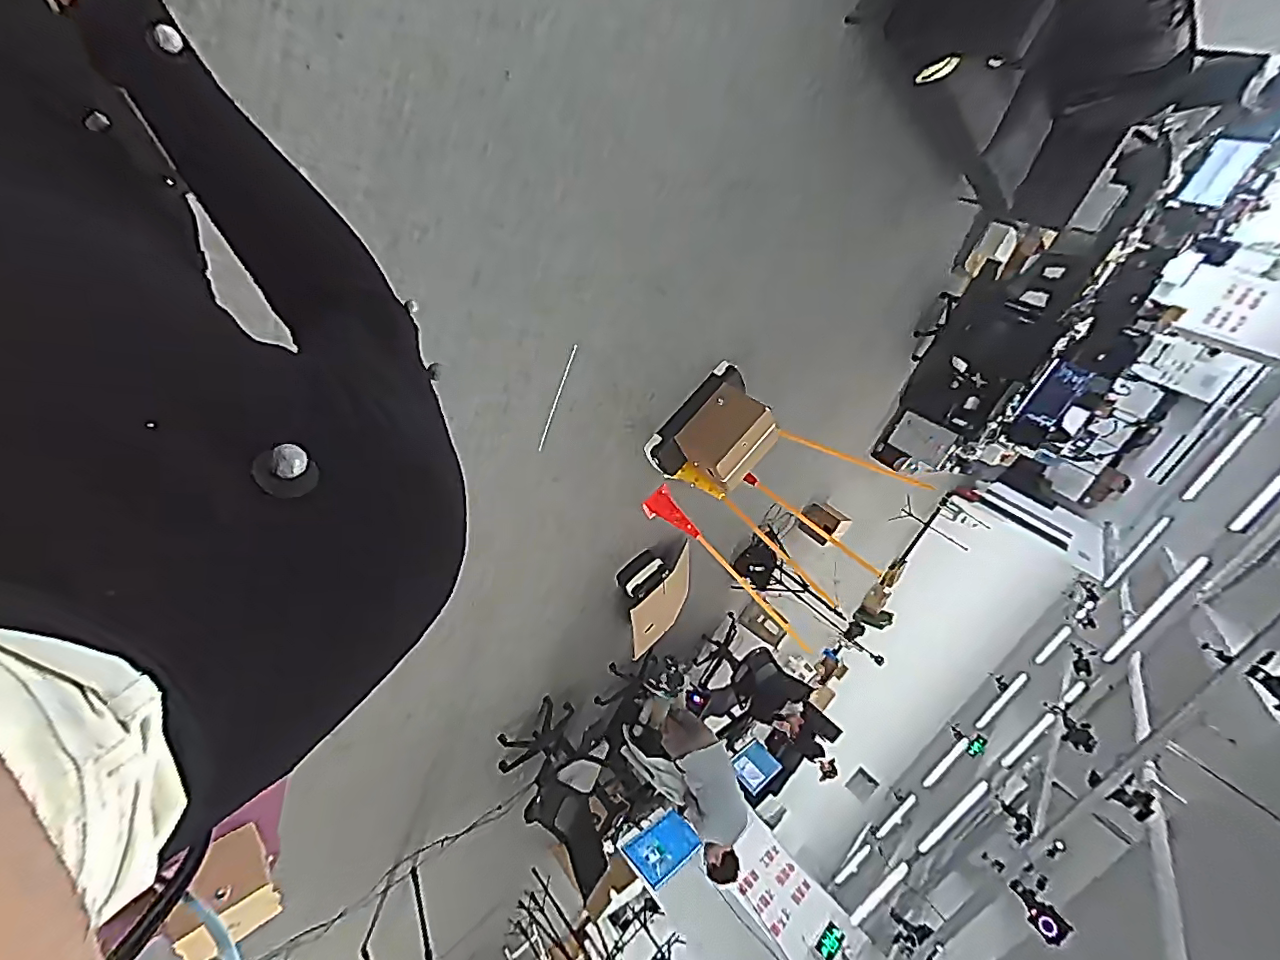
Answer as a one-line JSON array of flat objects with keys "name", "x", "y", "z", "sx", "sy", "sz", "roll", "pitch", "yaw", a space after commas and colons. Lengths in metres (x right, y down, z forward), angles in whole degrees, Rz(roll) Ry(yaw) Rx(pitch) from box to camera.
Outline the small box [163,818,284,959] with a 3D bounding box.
[{"name": "small box", "x": -0.961, "y": 0.935, "z": 1.252, "sx": 0.179, "sy": 0.176, "sz": 0.168, "roll": -19, "pitch": 135, "yaw": -39}]
